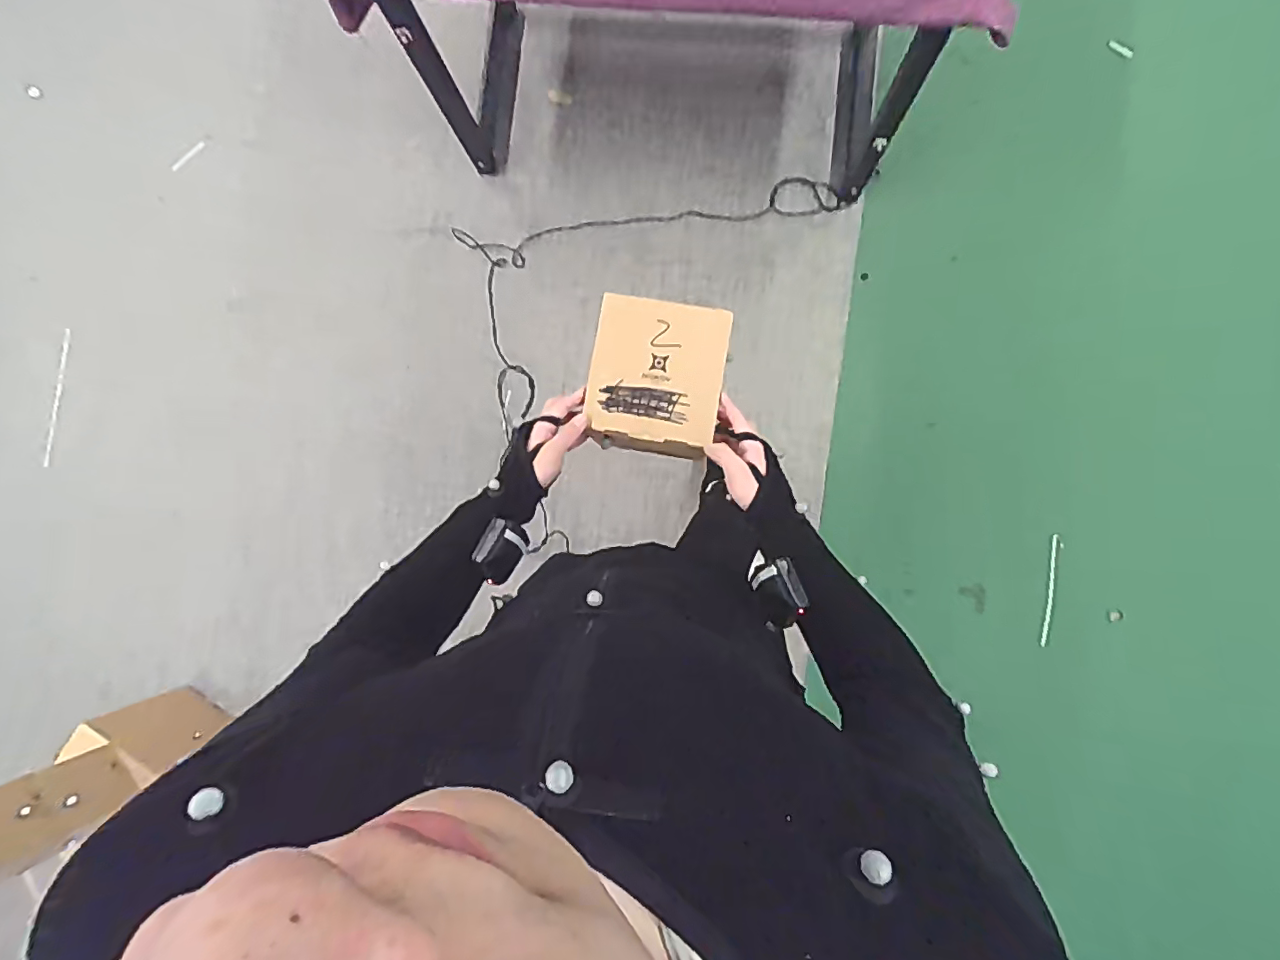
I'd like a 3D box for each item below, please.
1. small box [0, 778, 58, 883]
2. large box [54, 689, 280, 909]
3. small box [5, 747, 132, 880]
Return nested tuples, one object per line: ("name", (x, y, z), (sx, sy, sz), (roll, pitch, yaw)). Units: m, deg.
("small box", (-1.408, 0.775, 1.130), (0.179, 0.176, 0.168), (-39, 86, -1))
("large box", (-1.361, 0.869, 1.535), (0.408, 0.320, 0.320), (31, 90, 4))
("small box", (-1.396, 0.787, 1.295), (0.179, 0.176, 0.168), (-39, 85, 1))
